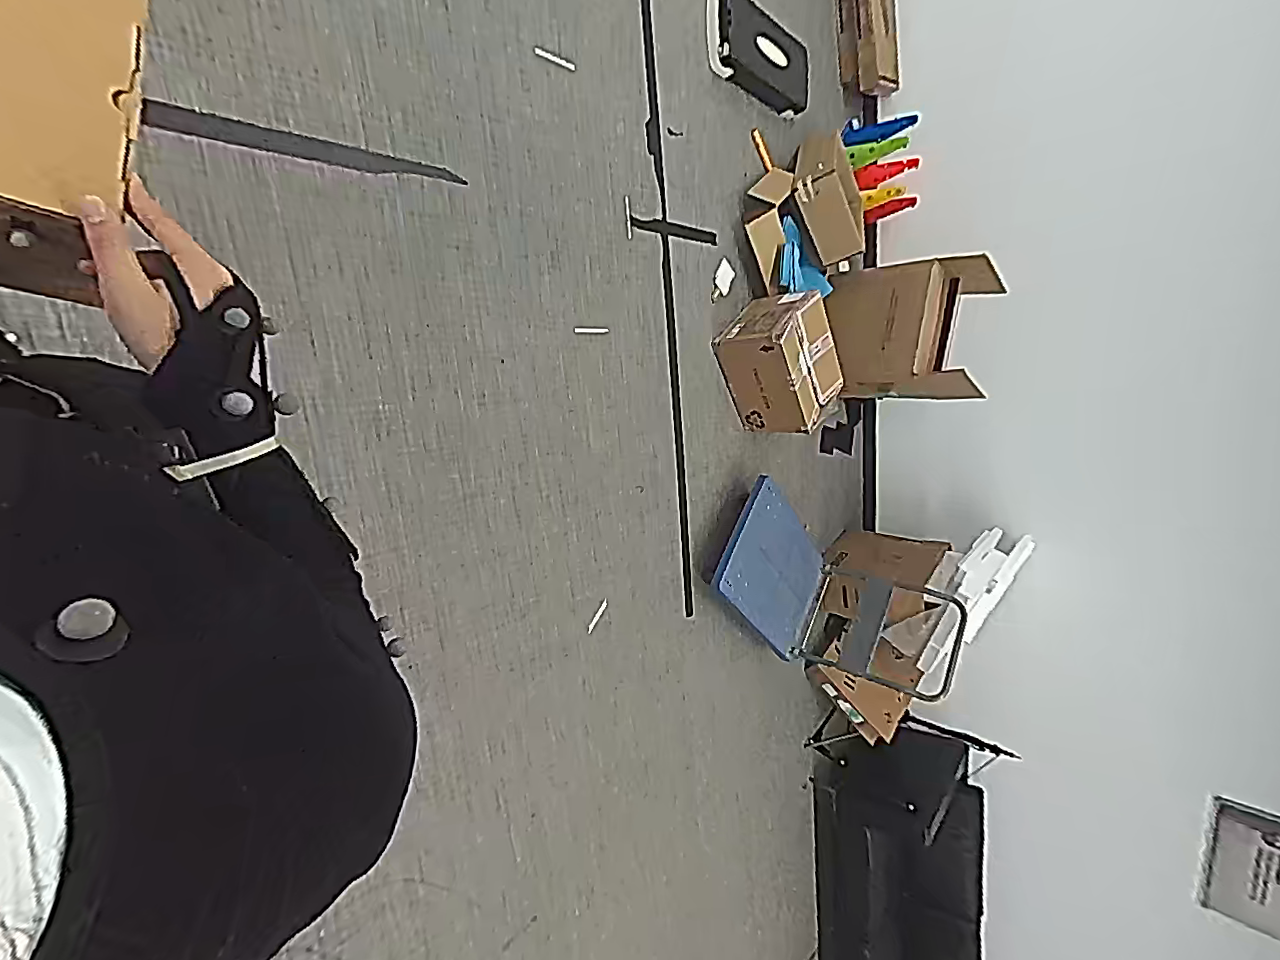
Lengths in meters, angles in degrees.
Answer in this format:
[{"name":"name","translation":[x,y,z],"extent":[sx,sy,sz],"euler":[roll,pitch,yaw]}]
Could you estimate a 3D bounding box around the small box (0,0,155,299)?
[{"name":"small box","translation":[-0.428,-0.231,0.331],"extent":[0.179,0.176,0.168],"euler":[6,82,-46]}]
